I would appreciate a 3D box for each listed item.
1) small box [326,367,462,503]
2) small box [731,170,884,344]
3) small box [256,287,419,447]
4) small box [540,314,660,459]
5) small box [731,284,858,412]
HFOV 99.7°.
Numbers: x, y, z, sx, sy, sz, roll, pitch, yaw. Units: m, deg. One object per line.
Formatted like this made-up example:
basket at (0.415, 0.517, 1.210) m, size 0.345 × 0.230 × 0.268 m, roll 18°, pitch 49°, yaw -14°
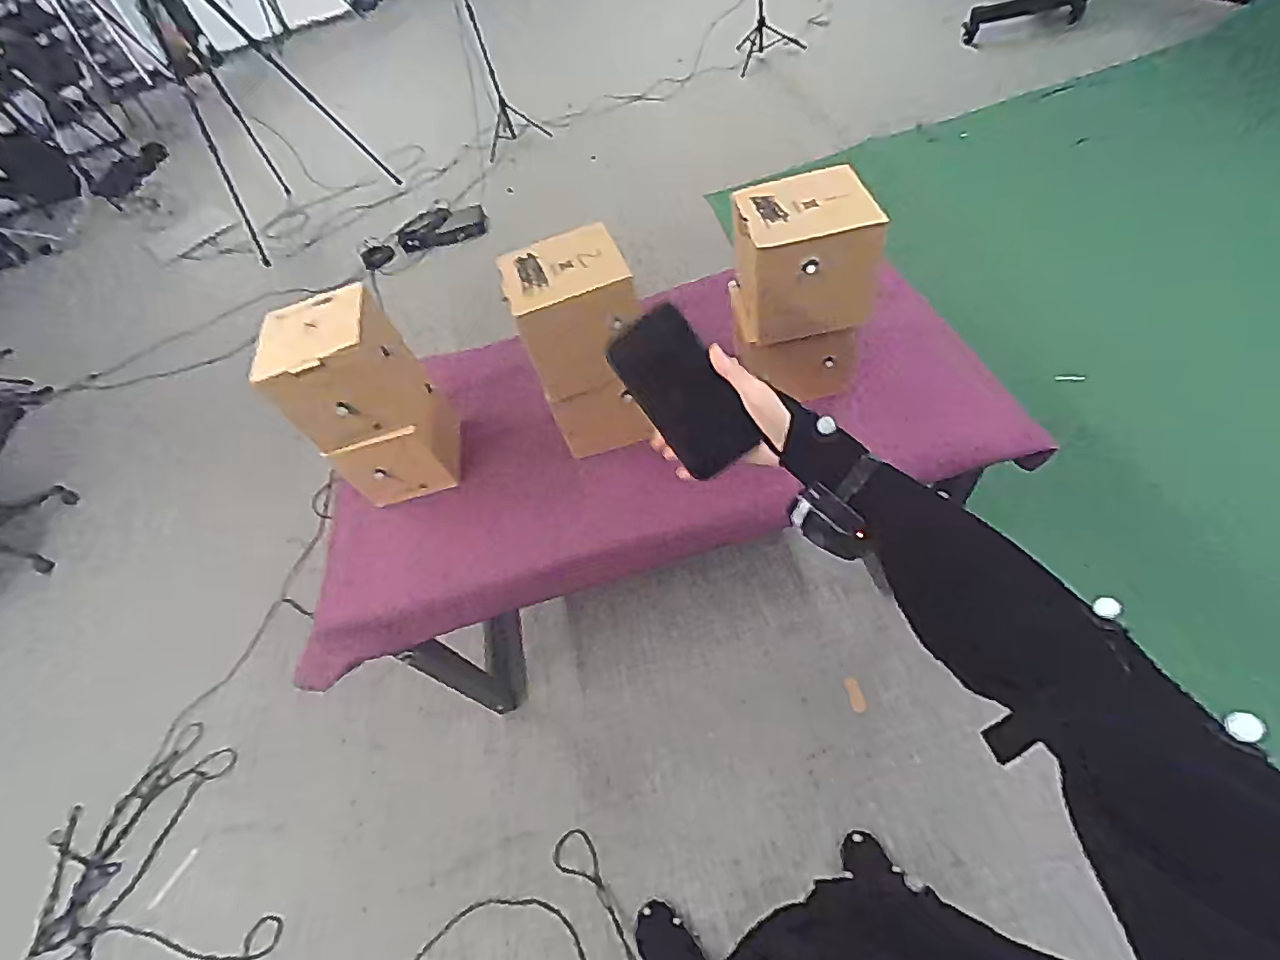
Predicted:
small box at (-0.445, -0.075, 1.010) m, size 0.168 × 0.176 × 0.179 m, roll -15°, pitch 53°, yaw 3°
small box at (0.244, -0.330, 0.820) m, size 0.179 × 0.176 × 0.168 m, roll -11°, pitch 53°, yaw 5°
small box at (-0.479, -0.176, 0.884) m, size 0.168 × 0.176 × 0.179 m, roll -19°, pitch 53°, yaw -1°
small box at (-0.066, -0.165, 0.981) m, size 0.179 × 0.176 × 0.168 m, roll -16°, pitch 53°, yaw 2°
small box at (0.265, -0.246, 0.960) m, size 0.179 × 0.176 × 0.168 m, roll -11°, pitch 53°, yaw 7°
